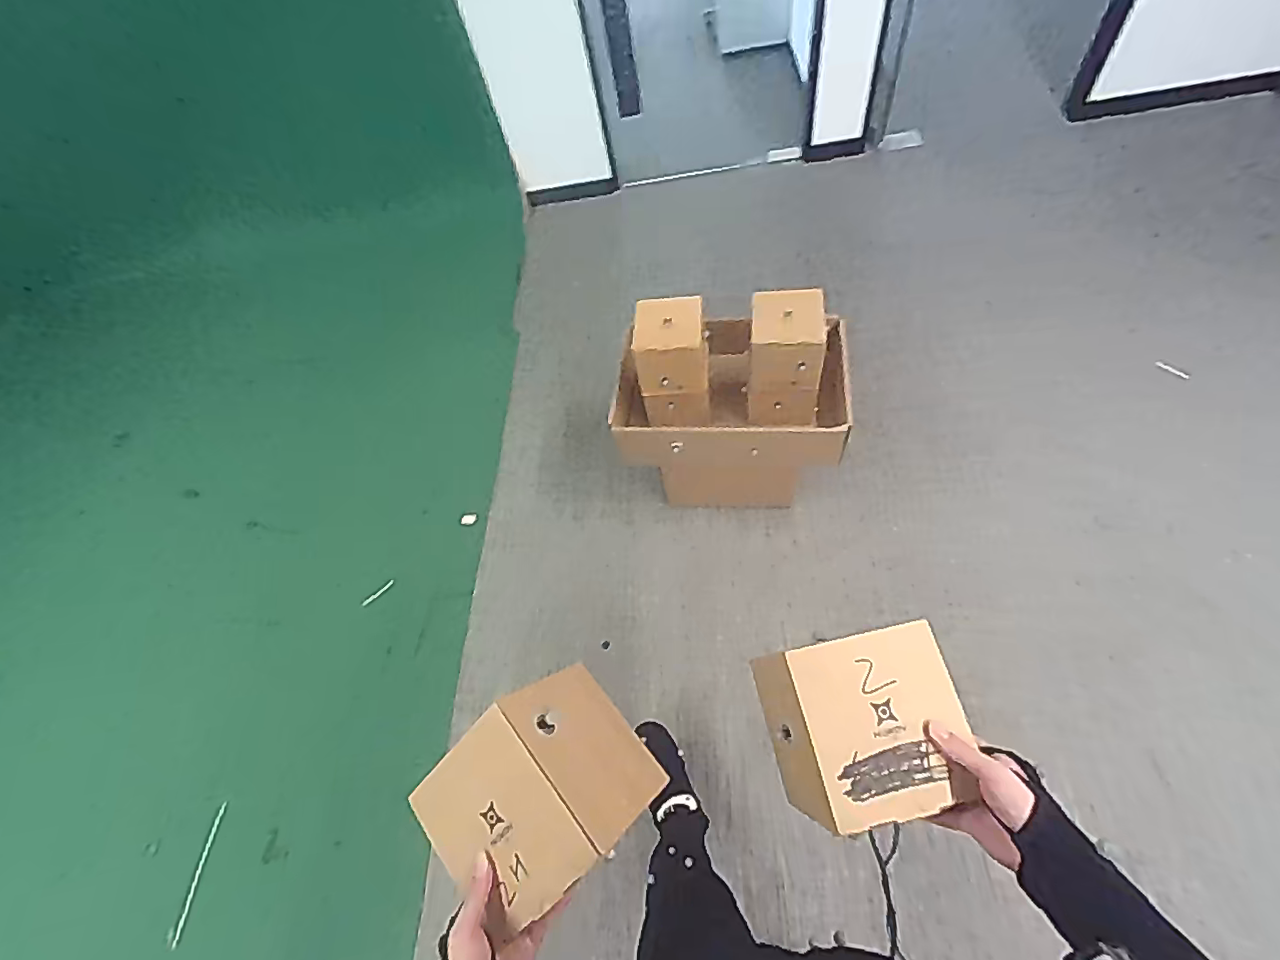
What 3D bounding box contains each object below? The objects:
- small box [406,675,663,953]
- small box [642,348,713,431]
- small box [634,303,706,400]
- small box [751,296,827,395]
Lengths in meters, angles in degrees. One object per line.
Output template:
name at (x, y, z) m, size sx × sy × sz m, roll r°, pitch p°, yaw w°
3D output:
small box at (-0.108, 0.338, 0.593) m, size 0.168 × 0.176 × 0.179 m, roll -48°, pitch 69°, yaw 14°
small box at (0.111, -0.249, 1.519) m, size 0.179 × 0.176 × 0.168 m, roll -1°, pitch 58°, yaw 11°
small box at (0.082, -0.324, 1.379) m, size 0.168 × 0.176 × 0.179 m, roll -1°, pitch 58°, yaw 9°
small box at (0.360, -0.324, 1.324) m, size 0.168 × 0.176 × 0.179 m, roll 2°, pitch 58°, yaw 11°
